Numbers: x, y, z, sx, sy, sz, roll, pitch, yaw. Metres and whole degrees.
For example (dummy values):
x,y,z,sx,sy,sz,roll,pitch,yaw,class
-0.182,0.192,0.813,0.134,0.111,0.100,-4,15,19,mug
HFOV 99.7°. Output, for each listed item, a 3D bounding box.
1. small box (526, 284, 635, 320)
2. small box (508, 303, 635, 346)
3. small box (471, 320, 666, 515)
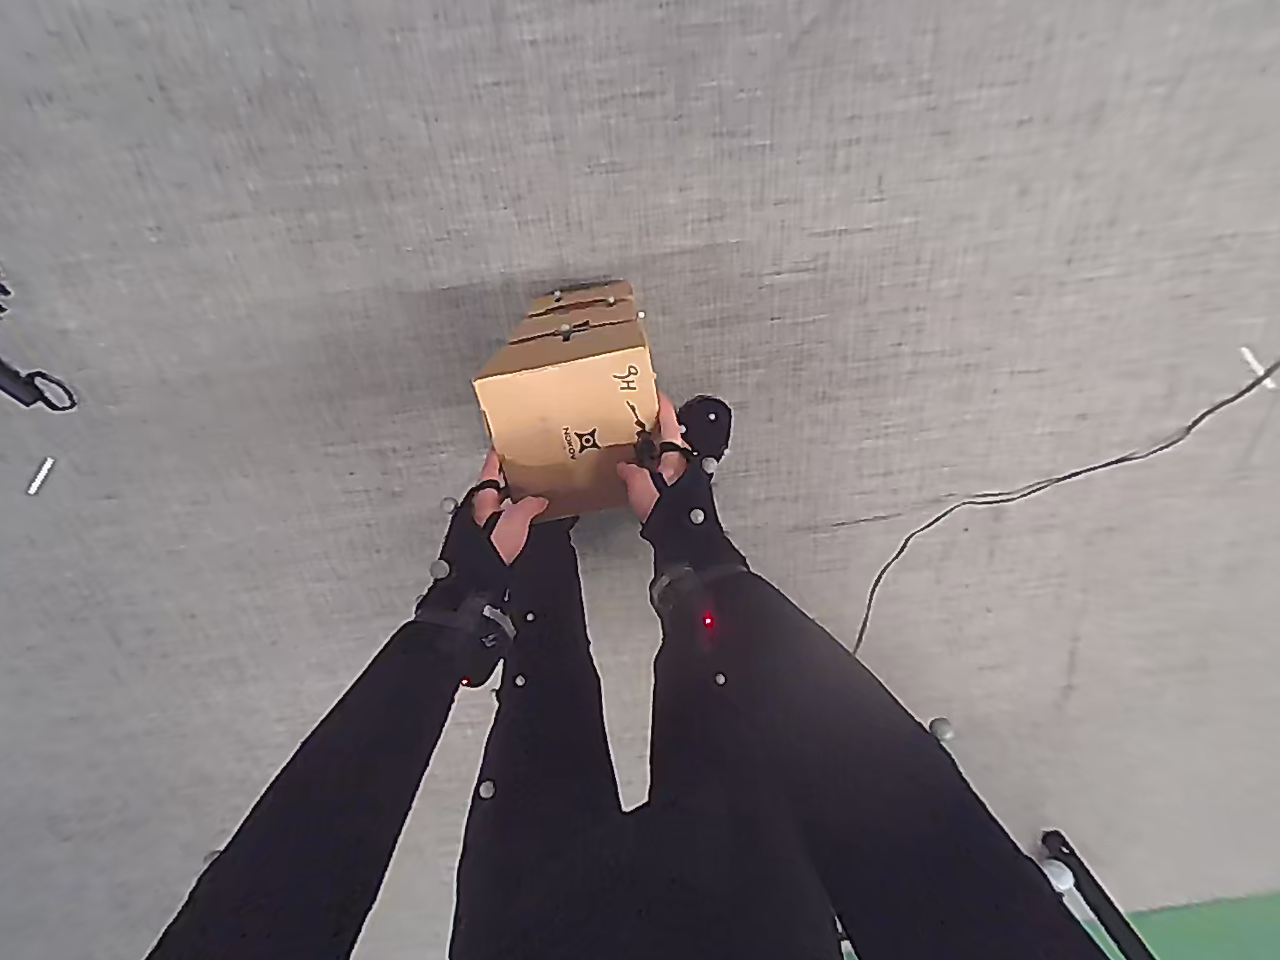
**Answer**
x,y,z,sx,sy,sz,roll,pitch,yaw,class
-0.086,-0.230,0.925,0.168,0.176,0.179,-10,118,2,small box
-0.079,-0.149,0.782,0.168,0.176,0.179,-10,117,2,small box
-0.071,-0.080,0.631,0.179,0.176,0.168,-10,115,2,small box
